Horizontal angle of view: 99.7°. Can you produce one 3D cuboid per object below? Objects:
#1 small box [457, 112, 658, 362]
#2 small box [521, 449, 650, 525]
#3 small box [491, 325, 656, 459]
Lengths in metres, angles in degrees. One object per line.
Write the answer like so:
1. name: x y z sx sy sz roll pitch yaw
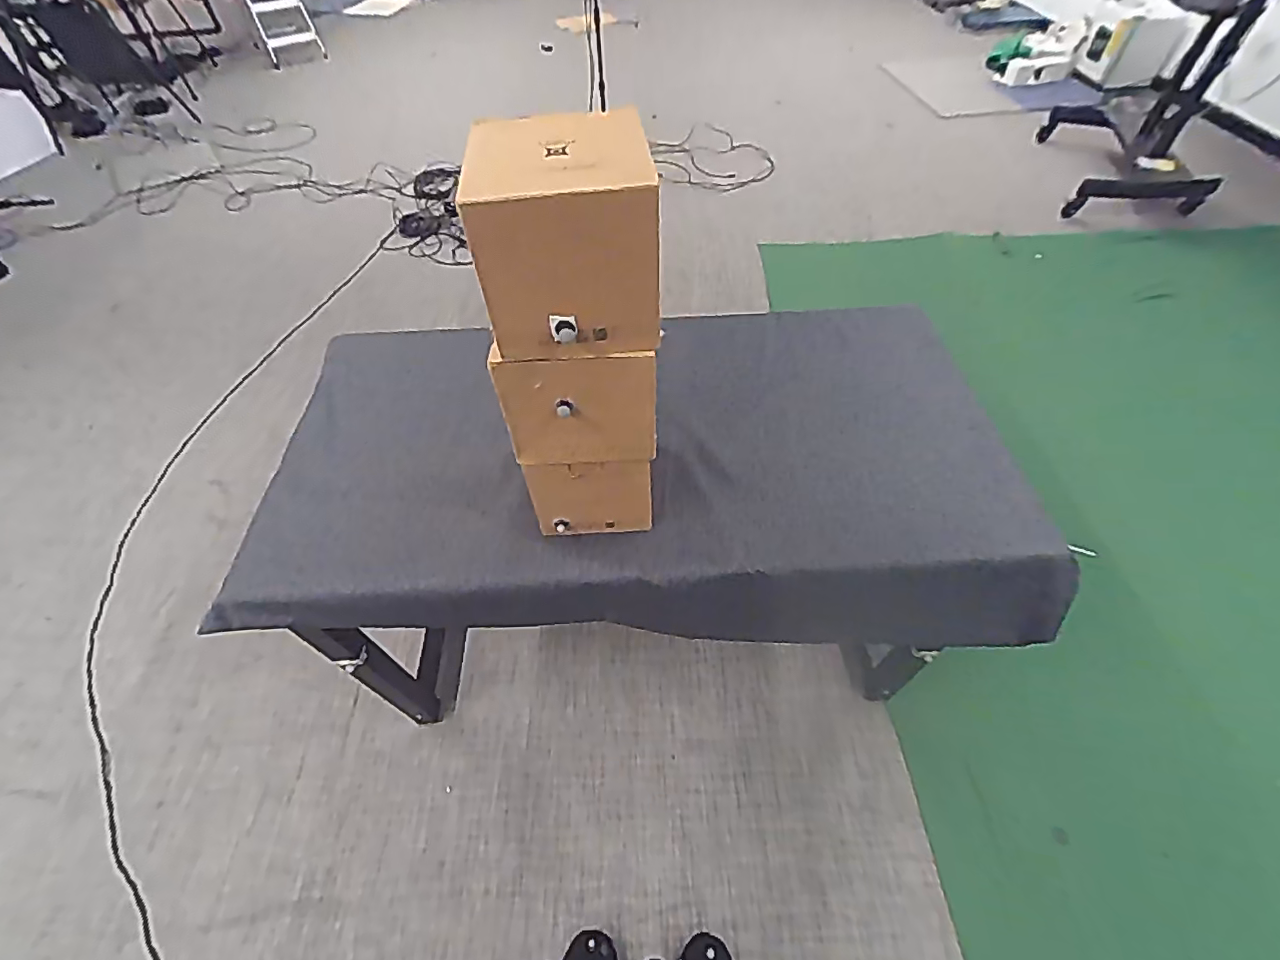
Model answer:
1. small box: -0.075 -0.246 0.554 0.168 0.176 0.179 -8 53 -3
2. small box: -0.072 -0.044 0.810 0.168 0.176 0.179 -3 50 0
3. small box: -0.074 -0.140 0.680 0.179 0.176 0.168 -4 50 -2
